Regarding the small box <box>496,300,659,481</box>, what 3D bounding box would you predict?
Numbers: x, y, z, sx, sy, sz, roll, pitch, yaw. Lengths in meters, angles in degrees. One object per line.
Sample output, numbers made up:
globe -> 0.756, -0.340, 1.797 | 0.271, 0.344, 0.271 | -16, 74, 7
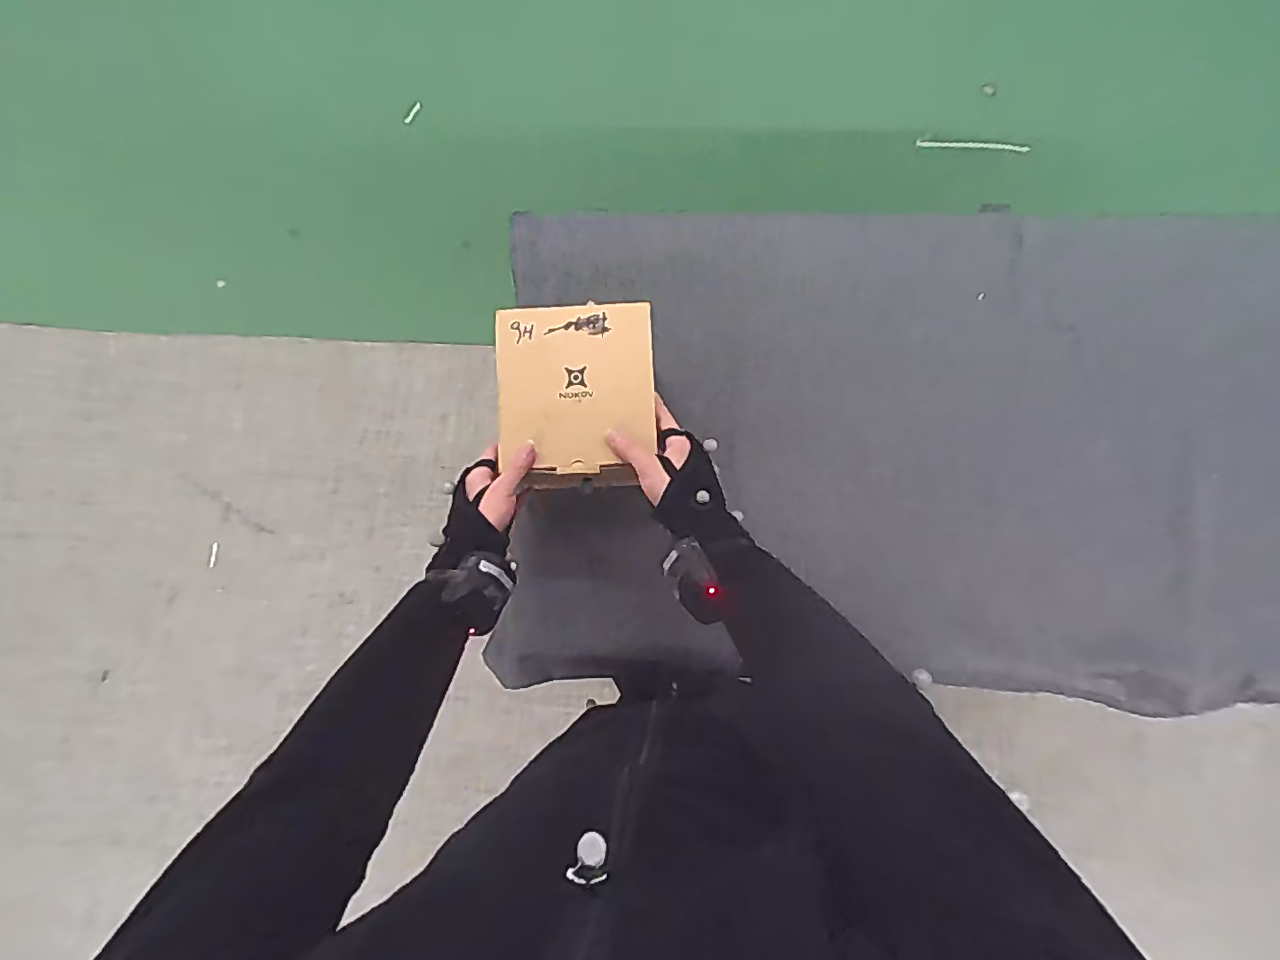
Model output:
small box -> -0.064, -0.091, 0.638 | 0.168, 0.176, 0.179 | -3, 84, 1
